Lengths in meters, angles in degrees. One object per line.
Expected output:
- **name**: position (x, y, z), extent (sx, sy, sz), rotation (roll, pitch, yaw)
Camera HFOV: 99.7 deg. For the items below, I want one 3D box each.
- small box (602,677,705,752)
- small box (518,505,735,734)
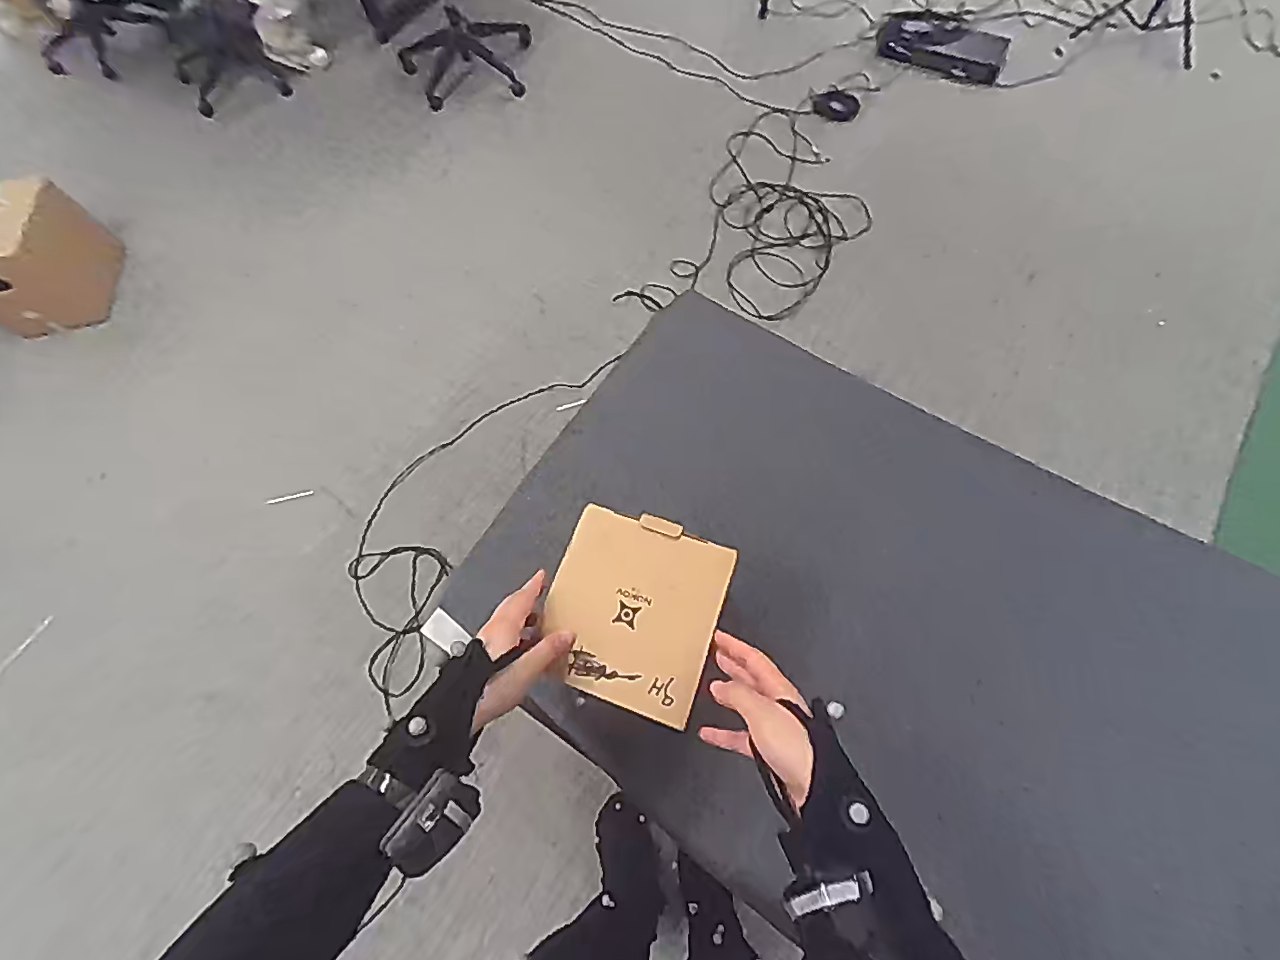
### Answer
- **small box**: position (0.035, 0.493, 1.239), extent (0.168, 0.176, 0.179), rotation (34, 72, 19)
- **small box**: position (-0.006, 0.156, 0.592), extent (0.168, 0.176, 0.179), rotation (18, 69, 12)
